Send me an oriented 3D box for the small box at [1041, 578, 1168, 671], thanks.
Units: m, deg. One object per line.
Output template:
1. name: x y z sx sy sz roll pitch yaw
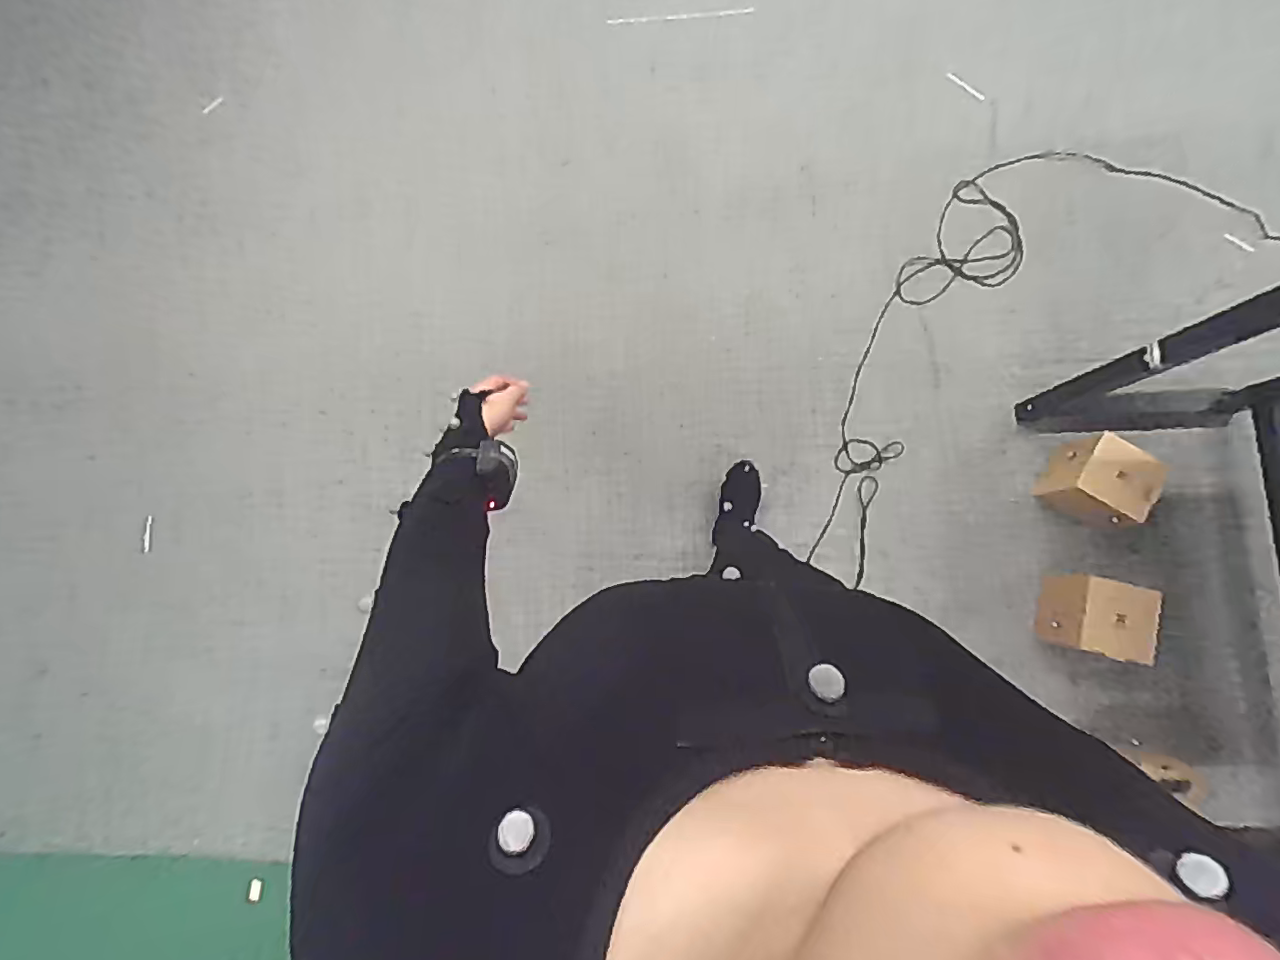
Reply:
1. small box: 1.119 0.344 1.317 0.168 0.176 0.179 13 80 4

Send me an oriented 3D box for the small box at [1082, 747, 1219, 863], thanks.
1. small box: 1.167 0.738 1.250 0.168 0.176 0.179 4 82 5

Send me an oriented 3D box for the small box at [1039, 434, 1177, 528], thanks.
1. small box: 1.169 0.011 1.368 0.179 0.176 0.168 32 84 7
